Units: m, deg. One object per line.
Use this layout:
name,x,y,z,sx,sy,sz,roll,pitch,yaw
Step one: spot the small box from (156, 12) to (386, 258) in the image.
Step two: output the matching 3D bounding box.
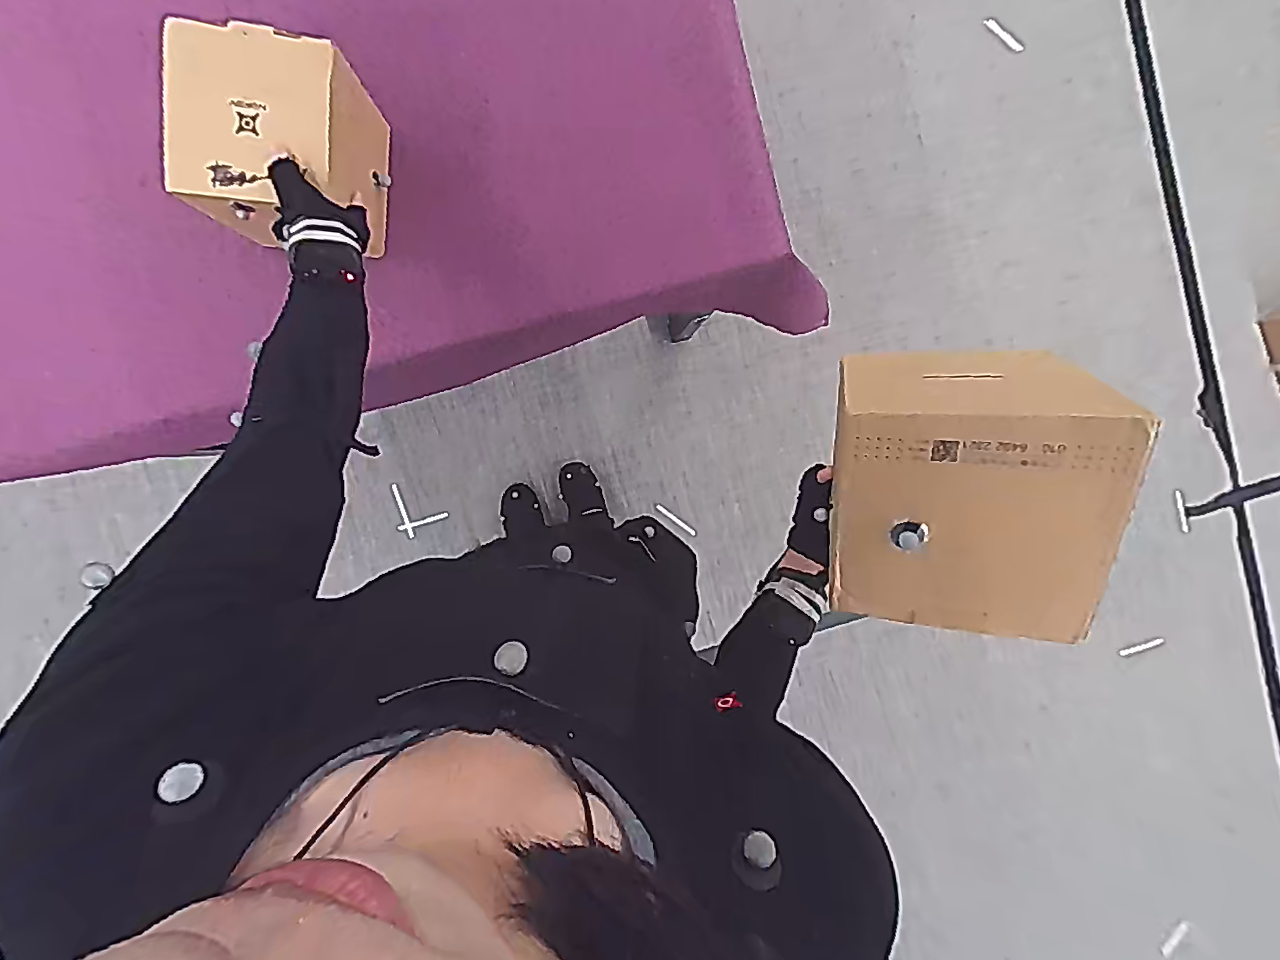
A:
small box,-0.416,-0.386,0.638,0.168,0.176,0.179,4,94,-6

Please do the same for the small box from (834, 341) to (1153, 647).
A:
small box,0.242,-0.004,0.417,0.168,0.179,0.176,5,117,18
